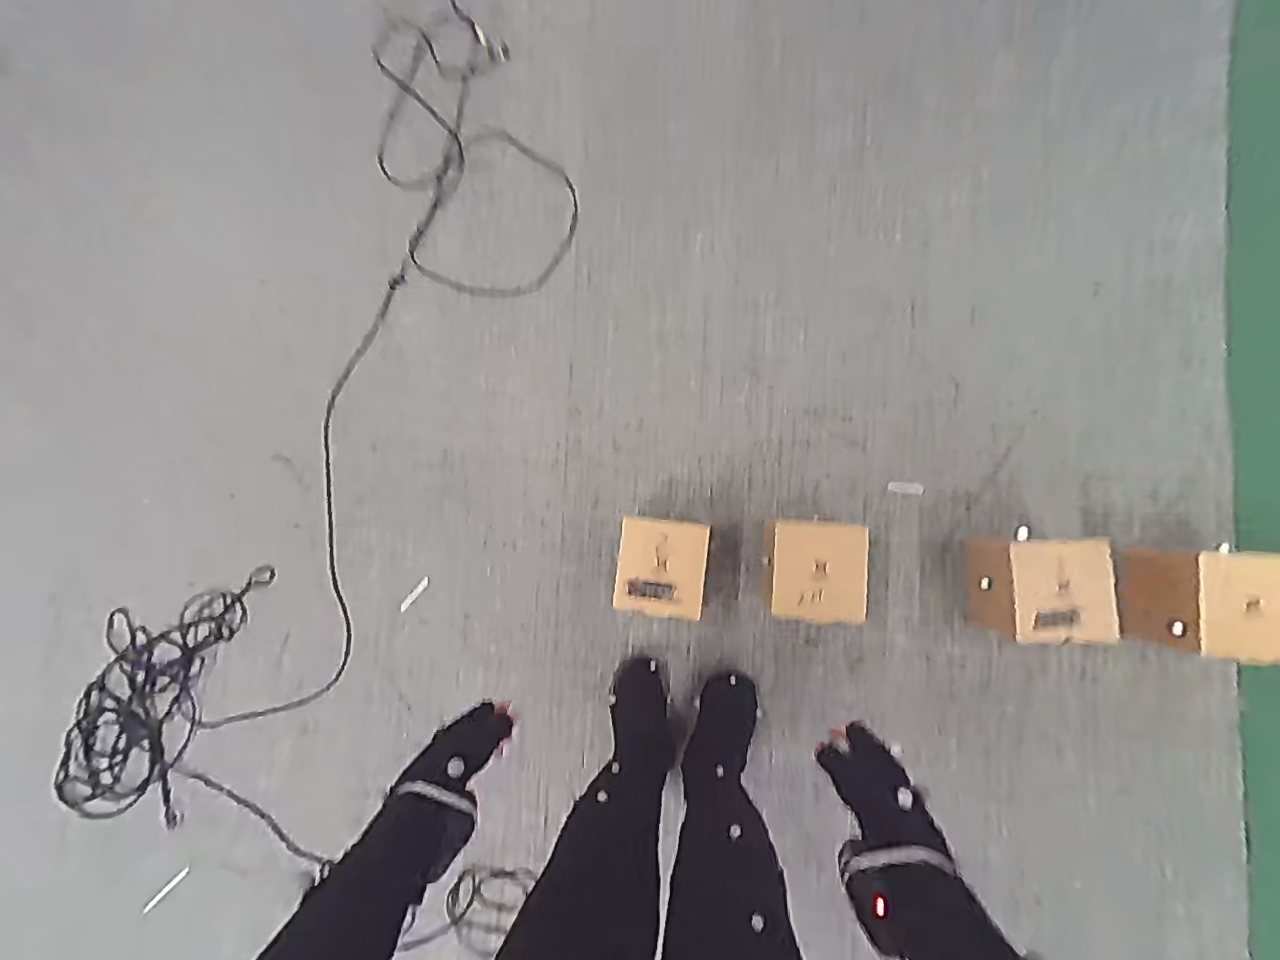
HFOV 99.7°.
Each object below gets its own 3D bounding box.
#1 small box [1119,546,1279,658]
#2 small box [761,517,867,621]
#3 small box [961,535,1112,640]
[{"bbox_3d":[1.019,0.213,0.981,0.168,0.176,0.179,2,86,7],"label":"small box"},{"bbox_3d":[0.329,0.165,1.052,0.168,0.176,0.179,4,86,7],"label":"small box"},{"bbox_3d":[0.728,0.194,1.012,0.168,0.176,0.179,-2,84,5],"label":"small box"}]
